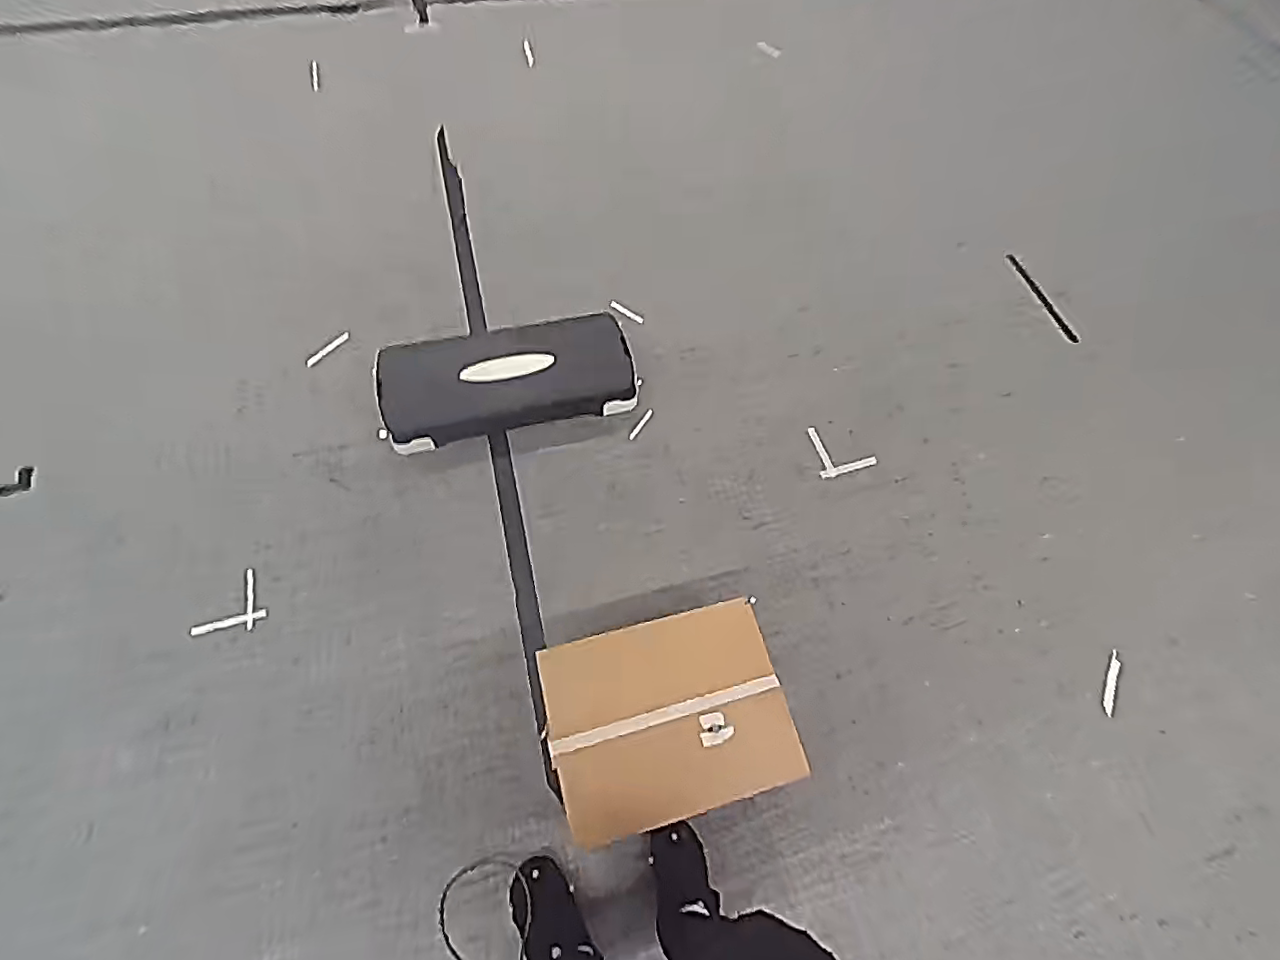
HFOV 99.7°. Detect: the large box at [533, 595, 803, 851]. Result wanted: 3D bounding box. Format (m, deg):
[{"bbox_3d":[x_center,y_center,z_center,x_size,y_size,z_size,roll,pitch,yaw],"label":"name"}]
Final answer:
[{"bbox_3d":[0.029,0.455,1.051,0.408,0.320,0.320,-12,67,-11],"label":"large box"}]
